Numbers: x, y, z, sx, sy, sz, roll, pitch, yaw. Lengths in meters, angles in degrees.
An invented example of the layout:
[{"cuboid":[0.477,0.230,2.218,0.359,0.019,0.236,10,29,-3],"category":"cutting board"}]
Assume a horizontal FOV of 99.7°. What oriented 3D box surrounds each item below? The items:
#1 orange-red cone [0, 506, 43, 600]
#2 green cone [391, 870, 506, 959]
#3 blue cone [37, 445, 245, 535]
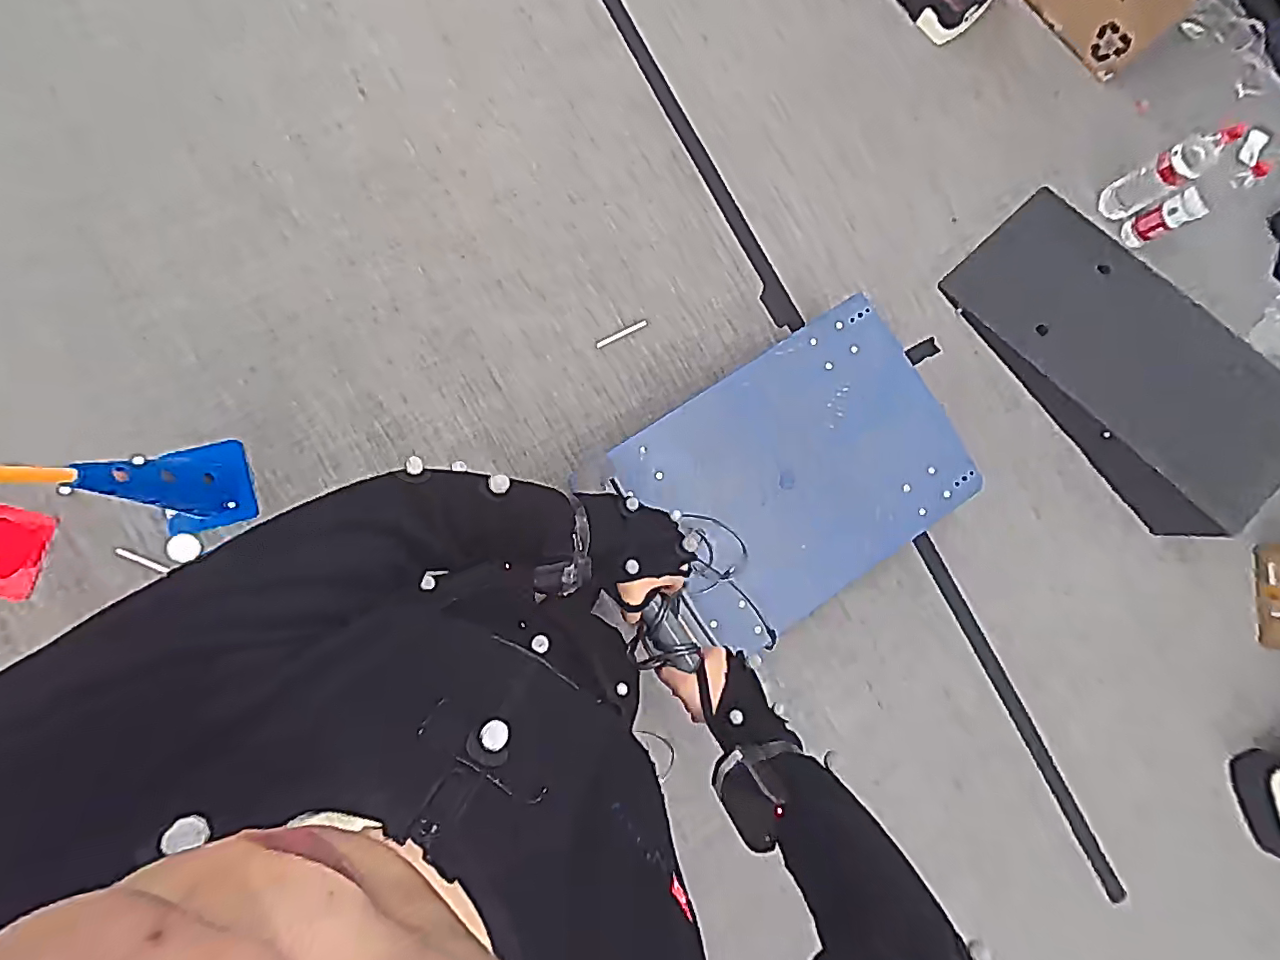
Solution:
[{"cuboid":[-1.438,0.140,1.032,0.199,0.360,0.198,18,84,-7],"category":"orange-red cone"},{"cuboid":[-0.424,1.028,1.084,0.202,0.368,0.200,-42,91,-7],"category":"green cone"},{"cuboid":[-1.021,0.008,1.108,0.192,0.380,0.193,-13,87,-7],"category":"blue cone"}]
